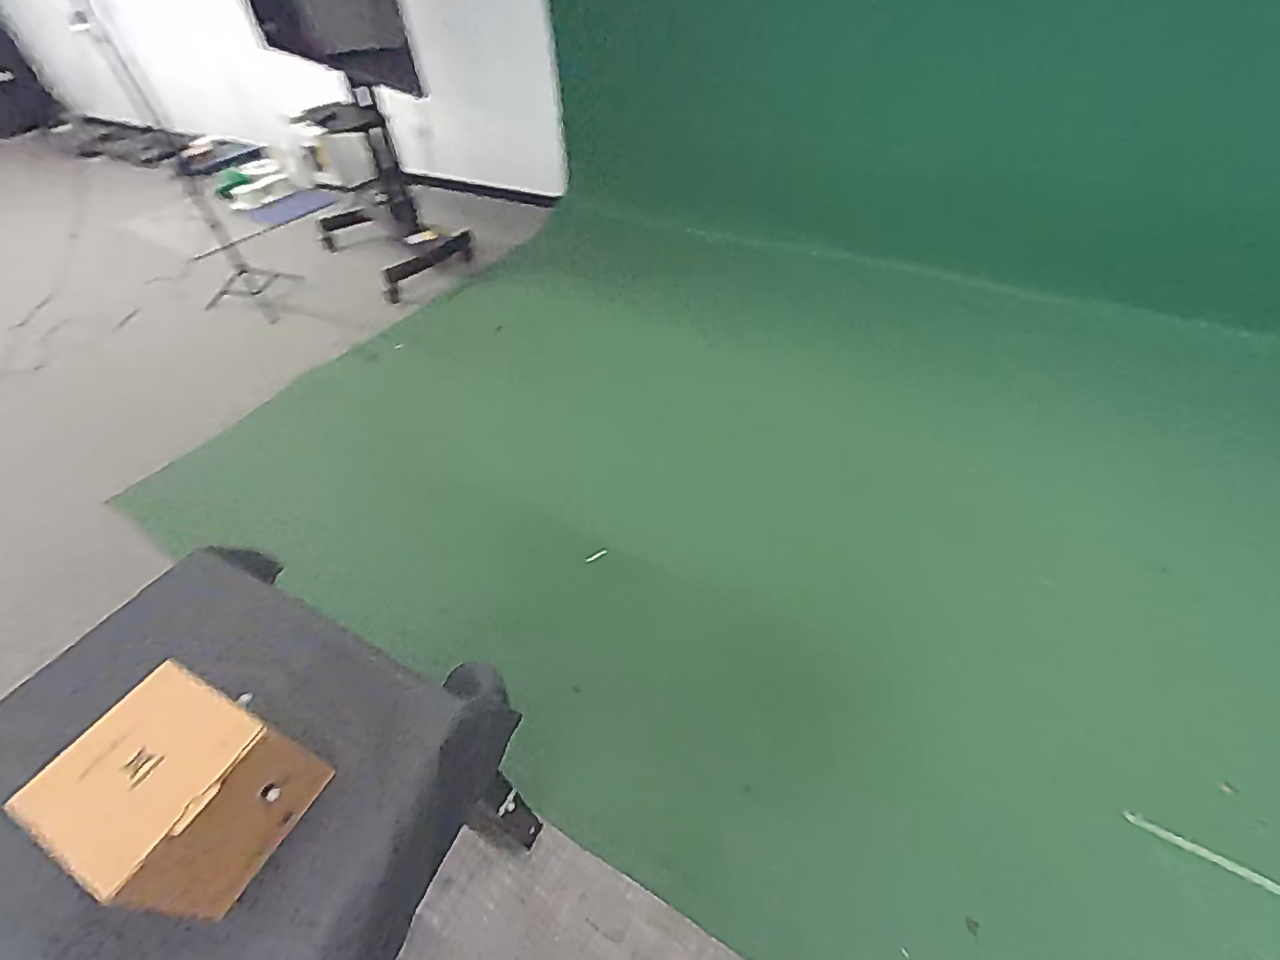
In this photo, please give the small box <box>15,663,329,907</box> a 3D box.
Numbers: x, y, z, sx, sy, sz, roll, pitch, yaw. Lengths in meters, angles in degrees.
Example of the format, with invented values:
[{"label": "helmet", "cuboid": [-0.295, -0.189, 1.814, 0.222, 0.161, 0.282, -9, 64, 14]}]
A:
[{"label": "small box", "cuboid": [-0.501, 0.345, 0.610, 0.179, 0.176, 0.168, 17, 50, 20]}]
